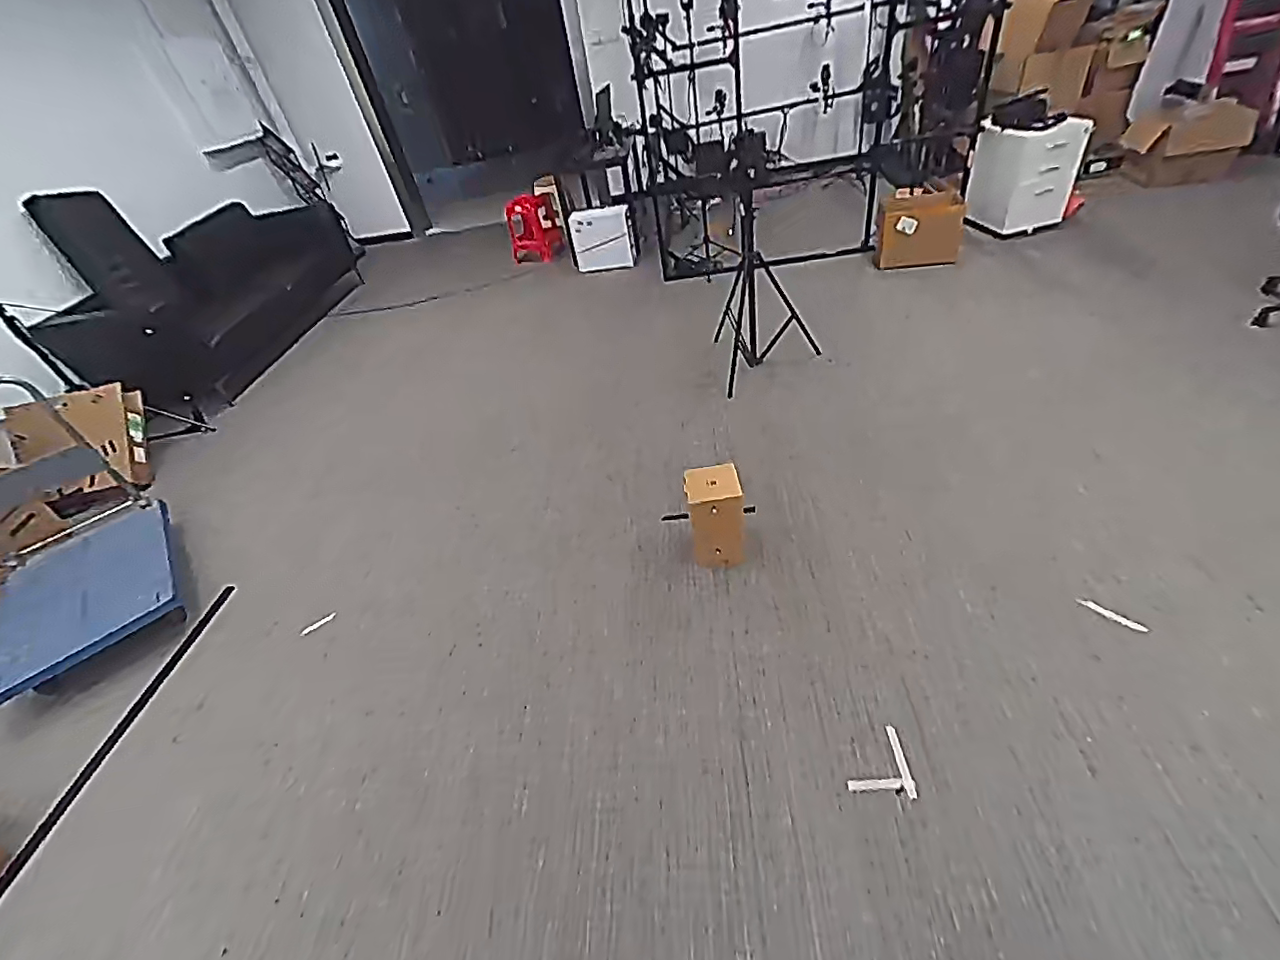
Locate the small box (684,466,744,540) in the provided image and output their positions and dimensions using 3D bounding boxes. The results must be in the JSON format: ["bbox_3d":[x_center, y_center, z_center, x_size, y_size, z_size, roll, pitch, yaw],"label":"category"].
[{"bbox_3d":[0.250,0.079,1.816,0.179,0.176,0.168,-10,40,5],"label":"small box"}]

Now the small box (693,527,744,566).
[{"bbox_3d":[0.282,0.194,1.928,0.168,0.176,0.179,-3,40,10],"label":"small box"}]
